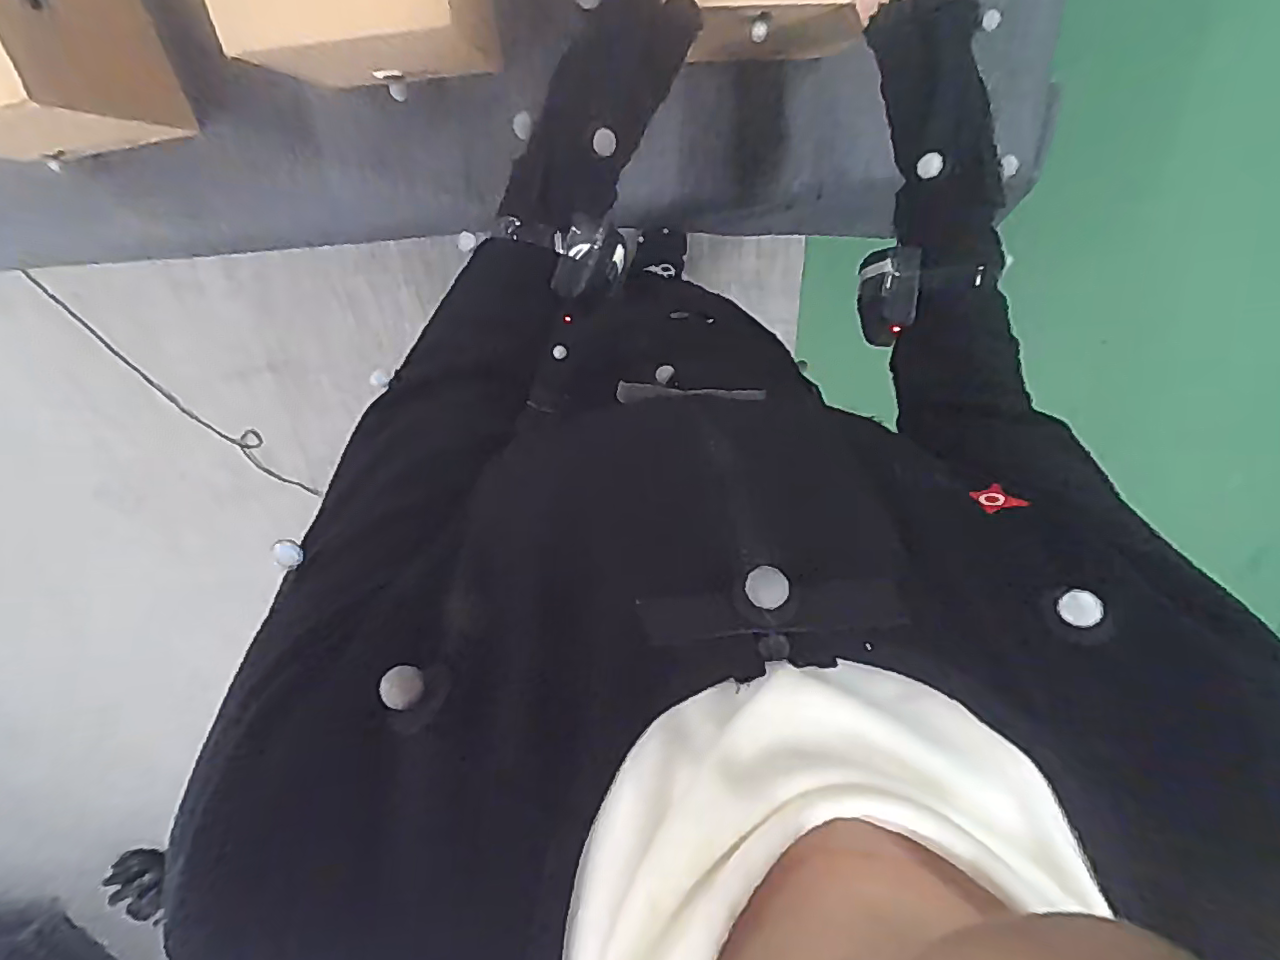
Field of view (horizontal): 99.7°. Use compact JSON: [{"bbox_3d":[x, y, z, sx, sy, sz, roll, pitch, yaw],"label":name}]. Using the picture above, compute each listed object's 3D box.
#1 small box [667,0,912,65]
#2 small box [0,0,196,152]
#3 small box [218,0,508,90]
[{"bbox_3d":[0.105,-0.436,0.400,0.168,0.176,0.179,-1,117,1],"label":"small box"},{"bbox_3d":[-0.518,-0.374,0.429,0.168,0.176,0.179,-8,116,4],"label":"small box"},{"bbox_3d":[-0.212,-0.422,0.410,0.168,0.176,0.179,-5,119,3],"label":"small box"}]
